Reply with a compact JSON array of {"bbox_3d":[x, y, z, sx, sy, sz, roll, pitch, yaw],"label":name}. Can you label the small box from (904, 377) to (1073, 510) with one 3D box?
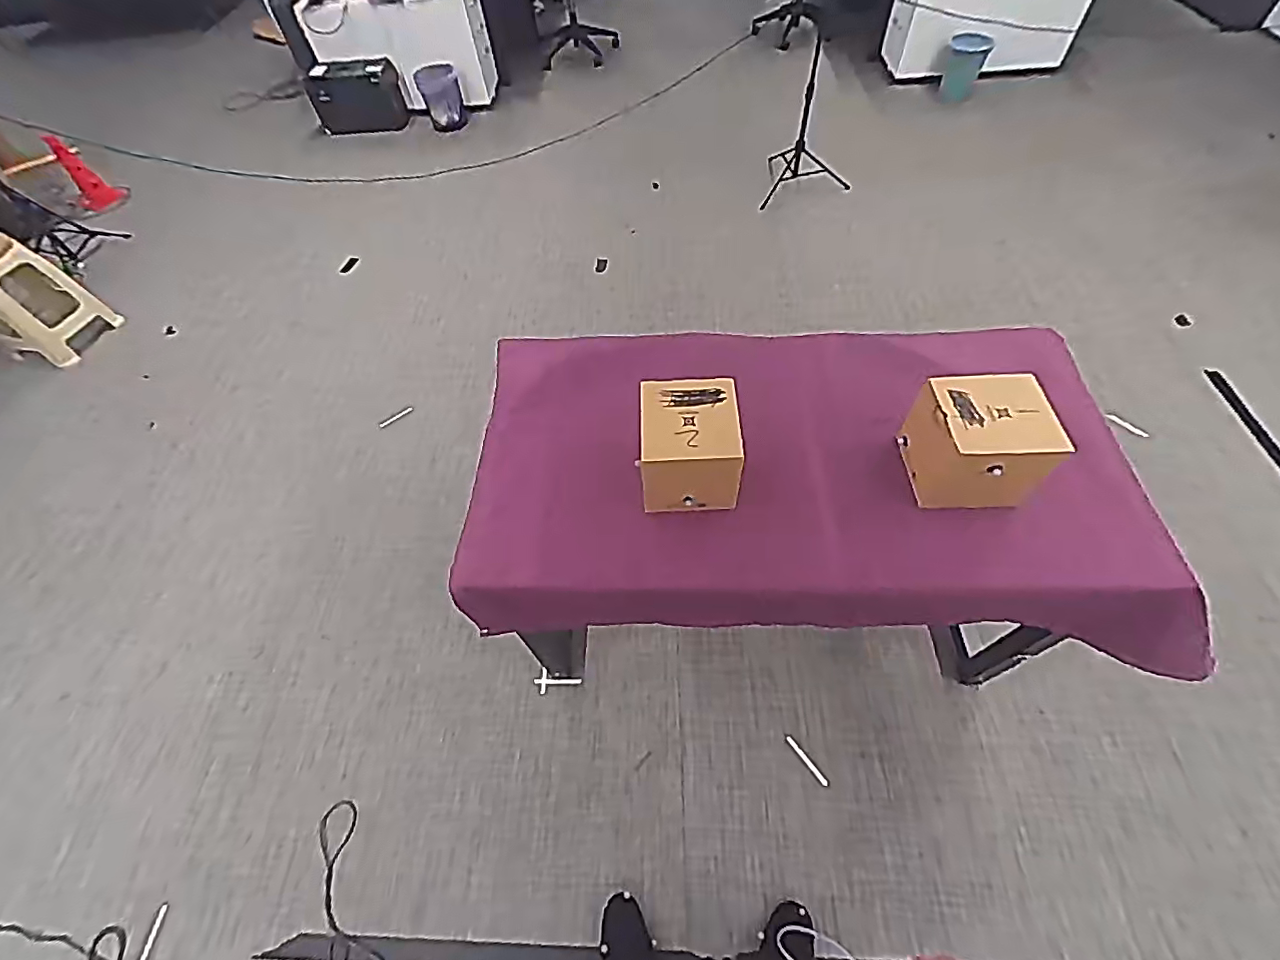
[{"bbox_3d":[0.580,-0.058,0.936,0.179,0.176,0.168,-1,56,3],"label":"small box"}]
